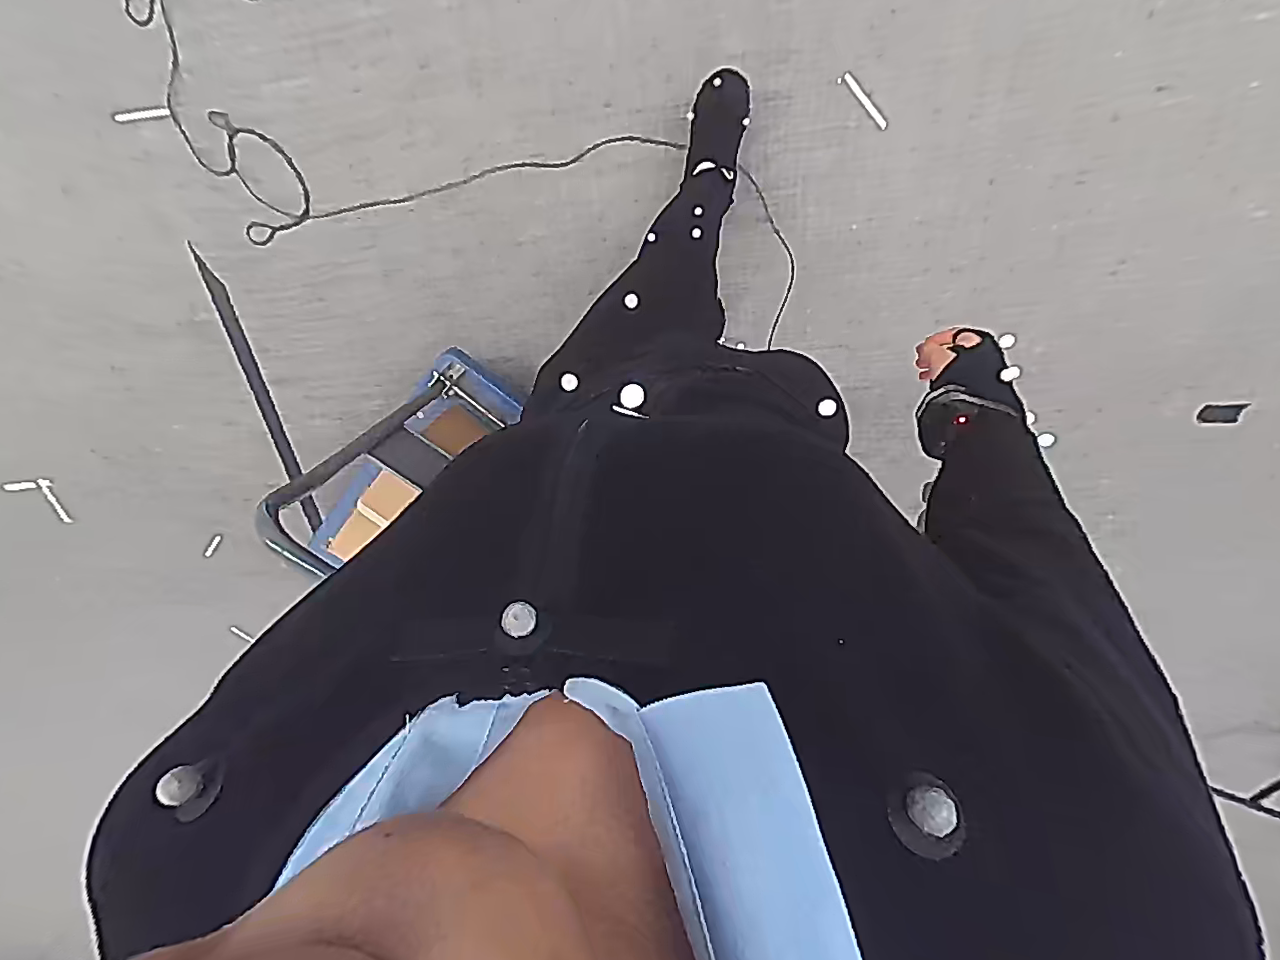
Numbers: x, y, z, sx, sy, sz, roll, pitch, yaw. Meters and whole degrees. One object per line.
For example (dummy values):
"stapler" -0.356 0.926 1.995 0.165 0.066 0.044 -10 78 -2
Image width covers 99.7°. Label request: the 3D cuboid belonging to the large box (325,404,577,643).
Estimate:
"large box" -0.416 0.096 1.277 0.408 0.320 0.320 40 112 -14
